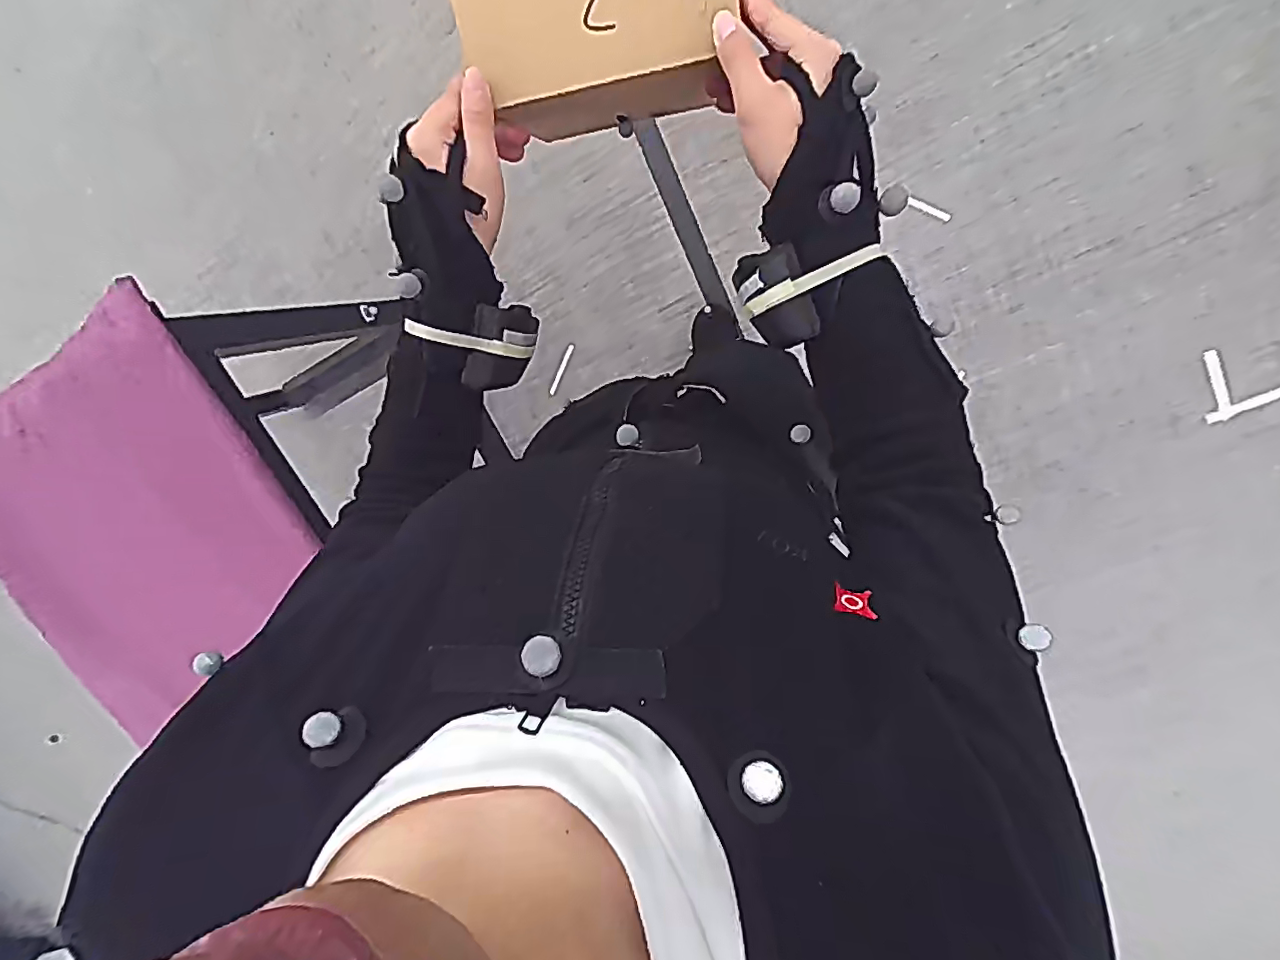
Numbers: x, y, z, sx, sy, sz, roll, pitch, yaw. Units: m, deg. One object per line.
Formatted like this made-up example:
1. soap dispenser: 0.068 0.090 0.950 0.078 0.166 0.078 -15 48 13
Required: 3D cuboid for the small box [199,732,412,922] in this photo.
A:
1. small box: -0.493 0.513 0.821 0.168 0.176 0.179 -27 102 20
